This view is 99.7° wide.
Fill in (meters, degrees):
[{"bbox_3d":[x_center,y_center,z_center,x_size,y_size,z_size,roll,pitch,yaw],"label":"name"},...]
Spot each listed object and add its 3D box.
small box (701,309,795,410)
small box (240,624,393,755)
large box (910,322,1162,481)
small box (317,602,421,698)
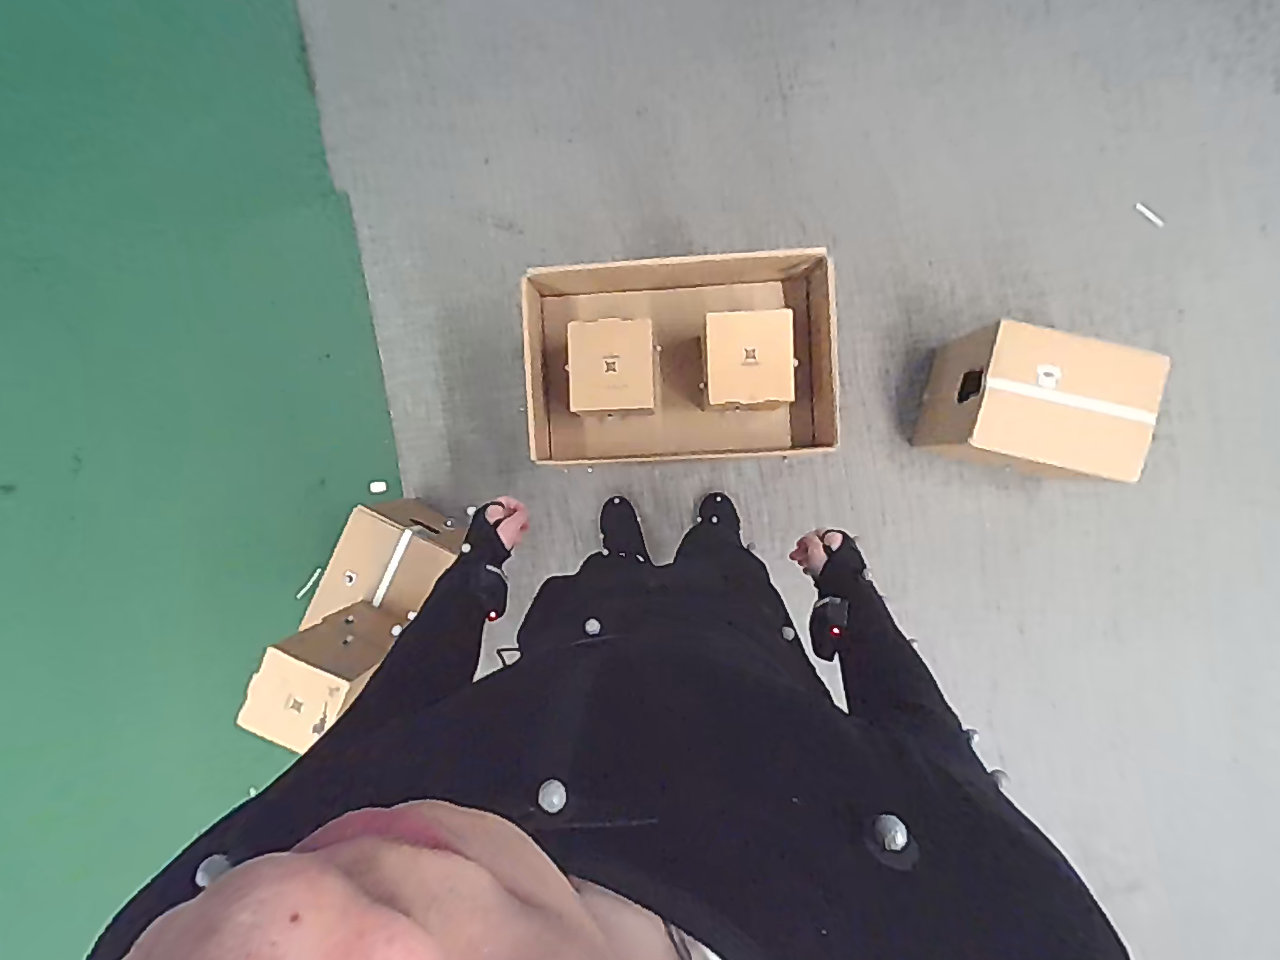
[{"bbox_3d":[0.216,-0.241,1.111,0.168,0.176,0.179,-2,93,2],"label":"small box"},{"bbox_3d":[-0.649,0.413,1.103,0.179,0.176,0.168,25,92,1],"label":"small box"},{"bbox_3d":[1.013,-0.192,1.433,0.408,0.320,0.320,14,92,3],"label":"large box"},{"bbox_3d":[-0.653,0.403,1.267,0.179,0.176,0.168,25,93,0],"label":"small box"}]
